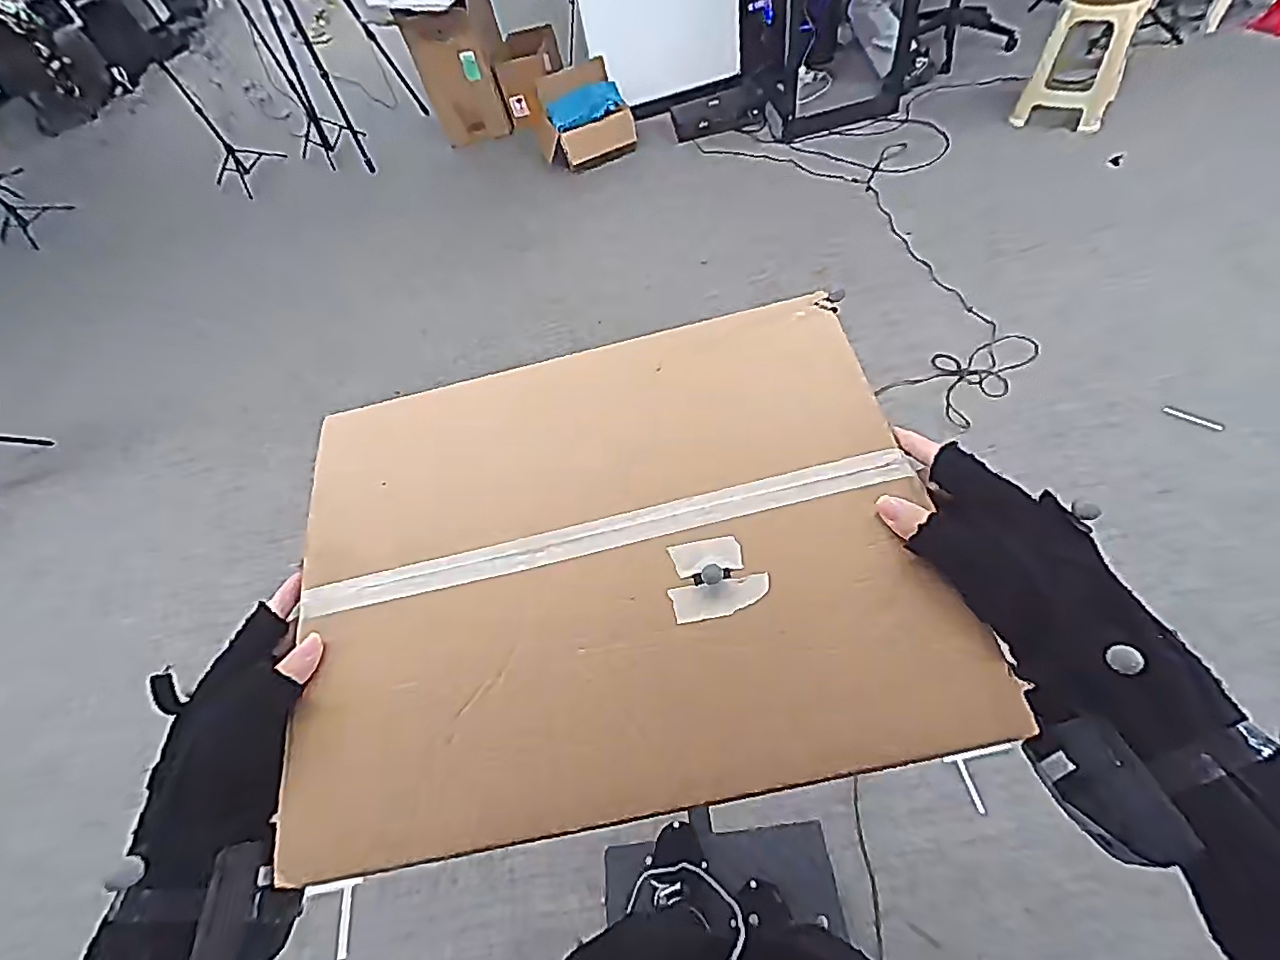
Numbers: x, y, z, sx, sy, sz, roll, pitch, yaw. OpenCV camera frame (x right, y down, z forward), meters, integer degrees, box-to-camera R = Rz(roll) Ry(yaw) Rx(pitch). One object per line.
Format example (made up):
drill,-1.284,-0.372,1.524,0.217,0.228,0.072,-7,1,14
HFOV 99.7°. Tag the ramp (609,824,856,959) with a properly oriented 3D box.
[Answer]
ramp,0.198,1.162,0.875,0.509,0.206,0.991,-13,55,5

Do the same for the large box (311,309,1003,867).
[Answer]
large box,-0.002,0.108,0.497,0.408,0.320,0.320,-13,62,2
